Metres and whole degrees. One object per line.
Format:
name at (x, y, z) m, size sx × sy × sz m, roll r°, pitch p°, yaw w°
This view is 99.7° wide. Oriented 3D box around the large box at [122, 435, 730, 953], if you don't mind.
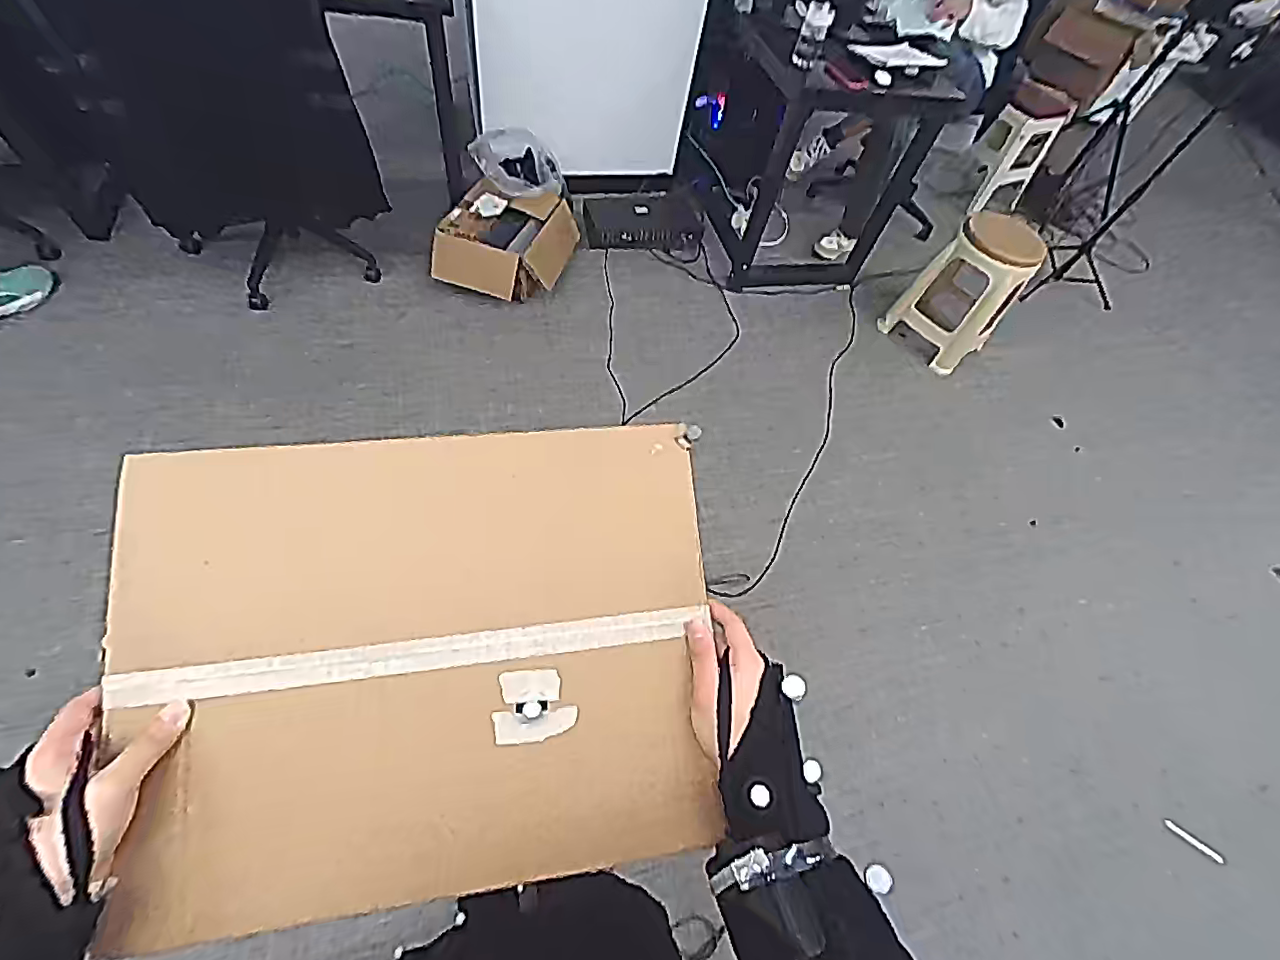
large box at (-0.167, 0.157, 0.538) m, size 0.408 × 0.320 × 0.320 m, roll -4°, pitch 80°, yaw -10°
